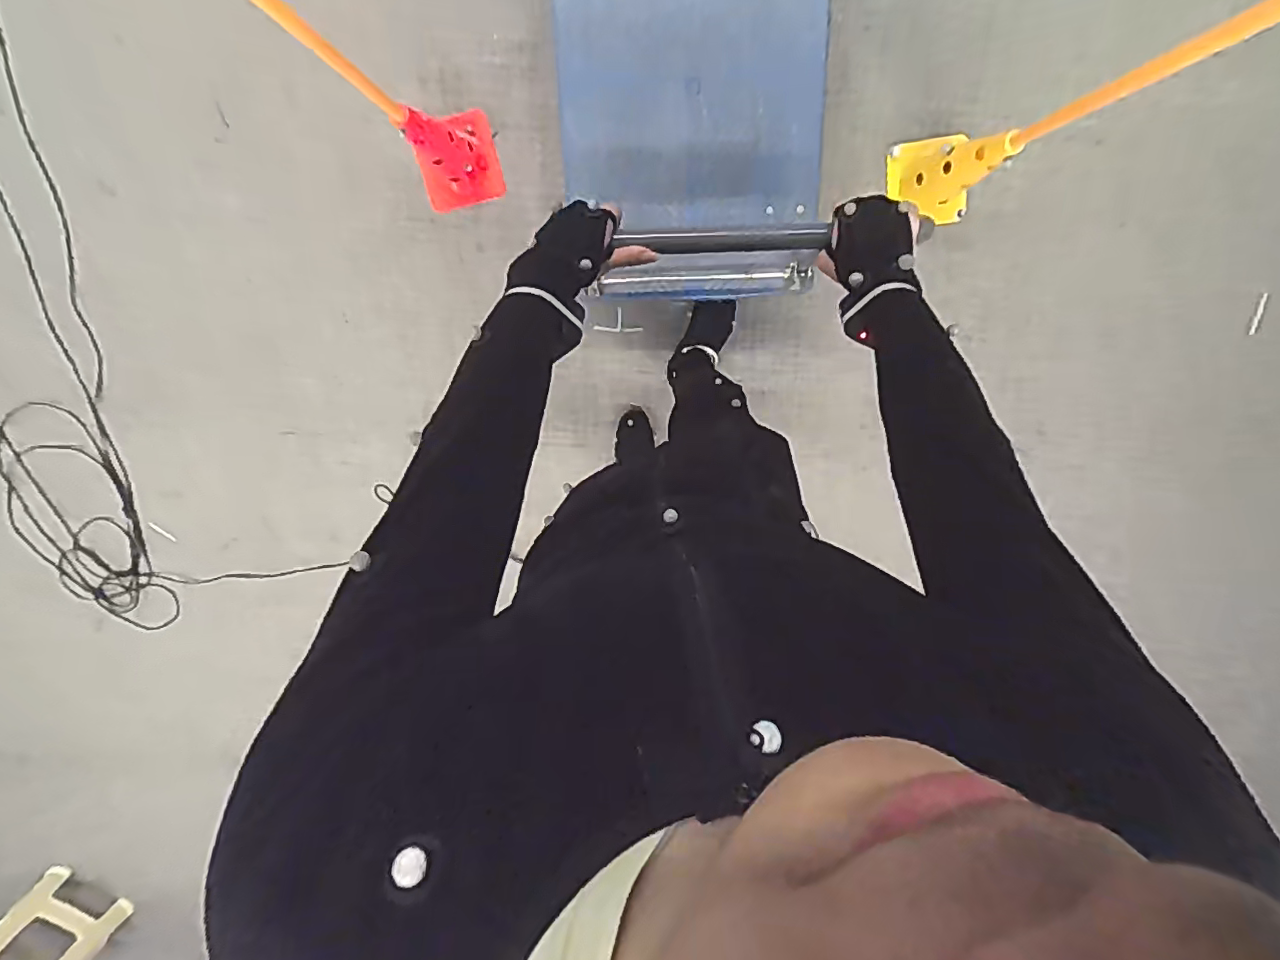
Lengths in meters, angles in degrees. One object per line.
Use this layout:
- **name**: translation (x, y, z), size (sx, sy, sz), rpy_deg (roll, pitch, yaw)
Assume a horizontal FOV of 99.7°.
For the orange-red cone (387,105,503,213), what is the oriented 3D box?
- **orange-red cone**: translation (-0.461, -0.742, 1.195), size (0.199, 0.360, 0.198), rpy_deg (-11, 106, 5)
